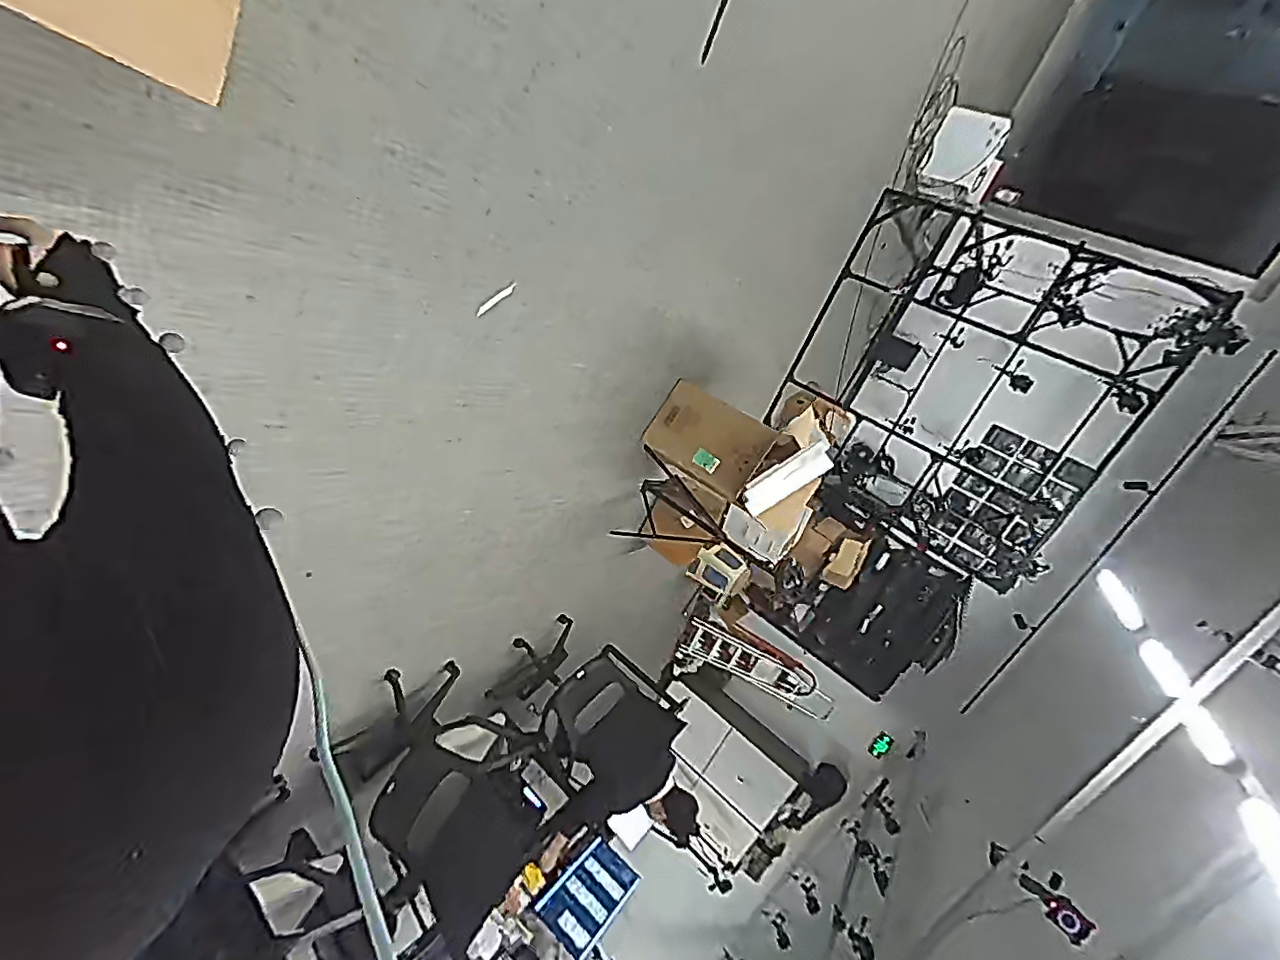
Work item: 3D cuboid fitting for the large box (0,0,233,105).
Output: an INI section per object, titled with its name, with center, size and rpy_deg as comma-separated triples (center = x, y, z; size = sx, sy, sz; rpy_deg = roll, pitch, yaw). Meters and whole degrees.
[large box]
center = -0.744, -0.713, 0.598
size = 0.408, 0.320, 0.320
rpy_deg = -5, 125, -61
